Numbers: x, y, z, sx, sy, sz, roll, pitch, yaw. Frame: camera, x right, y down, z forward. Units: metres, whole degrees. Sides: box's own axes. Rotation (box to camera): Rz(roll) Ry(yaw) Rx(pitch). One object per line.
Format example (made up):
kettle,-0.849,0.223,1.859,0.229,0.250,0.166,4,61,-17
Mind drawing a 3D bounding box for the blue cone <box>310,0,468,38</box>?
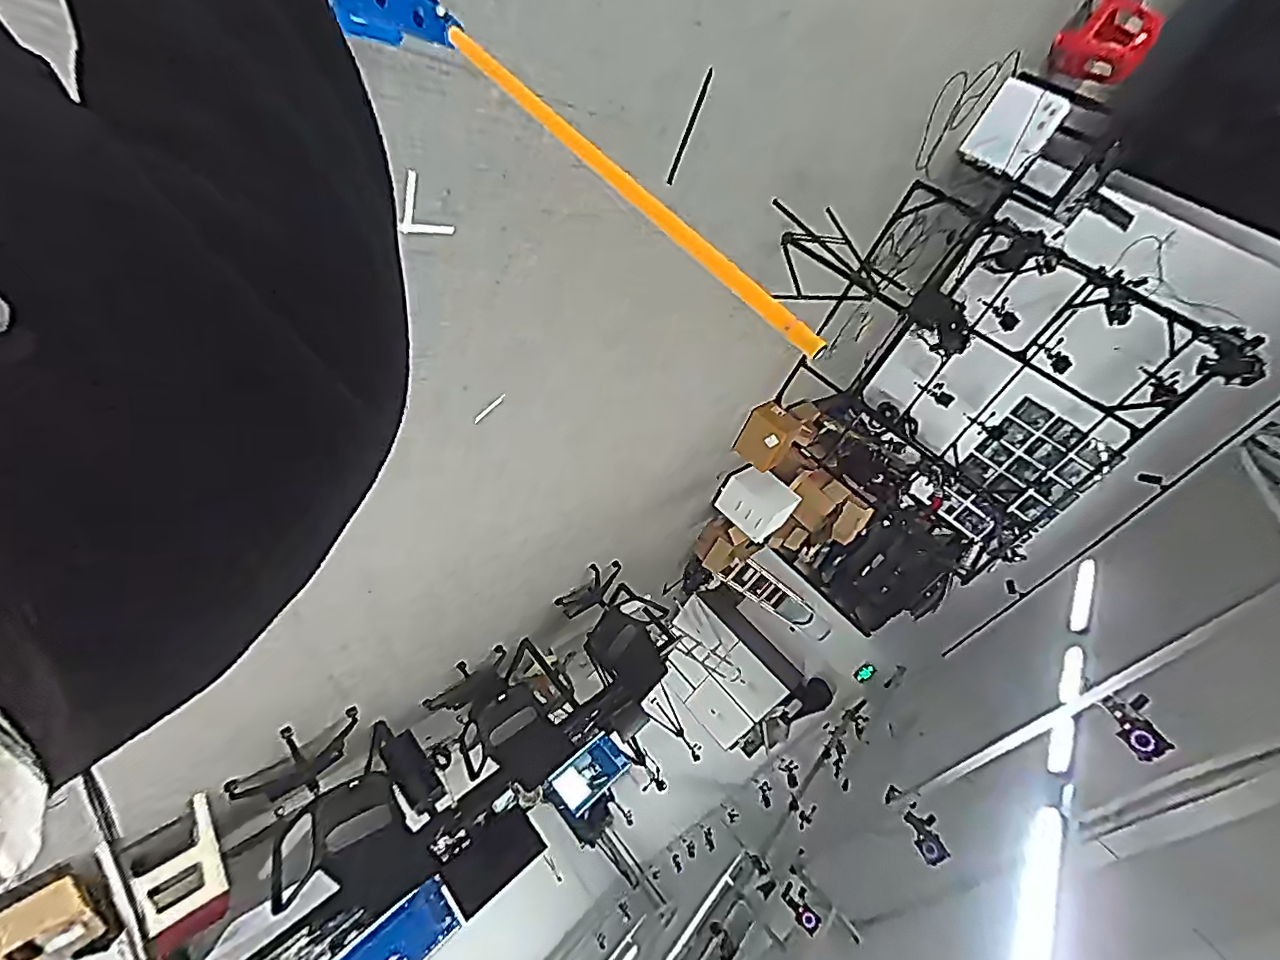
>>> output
blue cone,-0.431,-0.875,0.978,0.193,0.380,0.192,-24,149,-44
